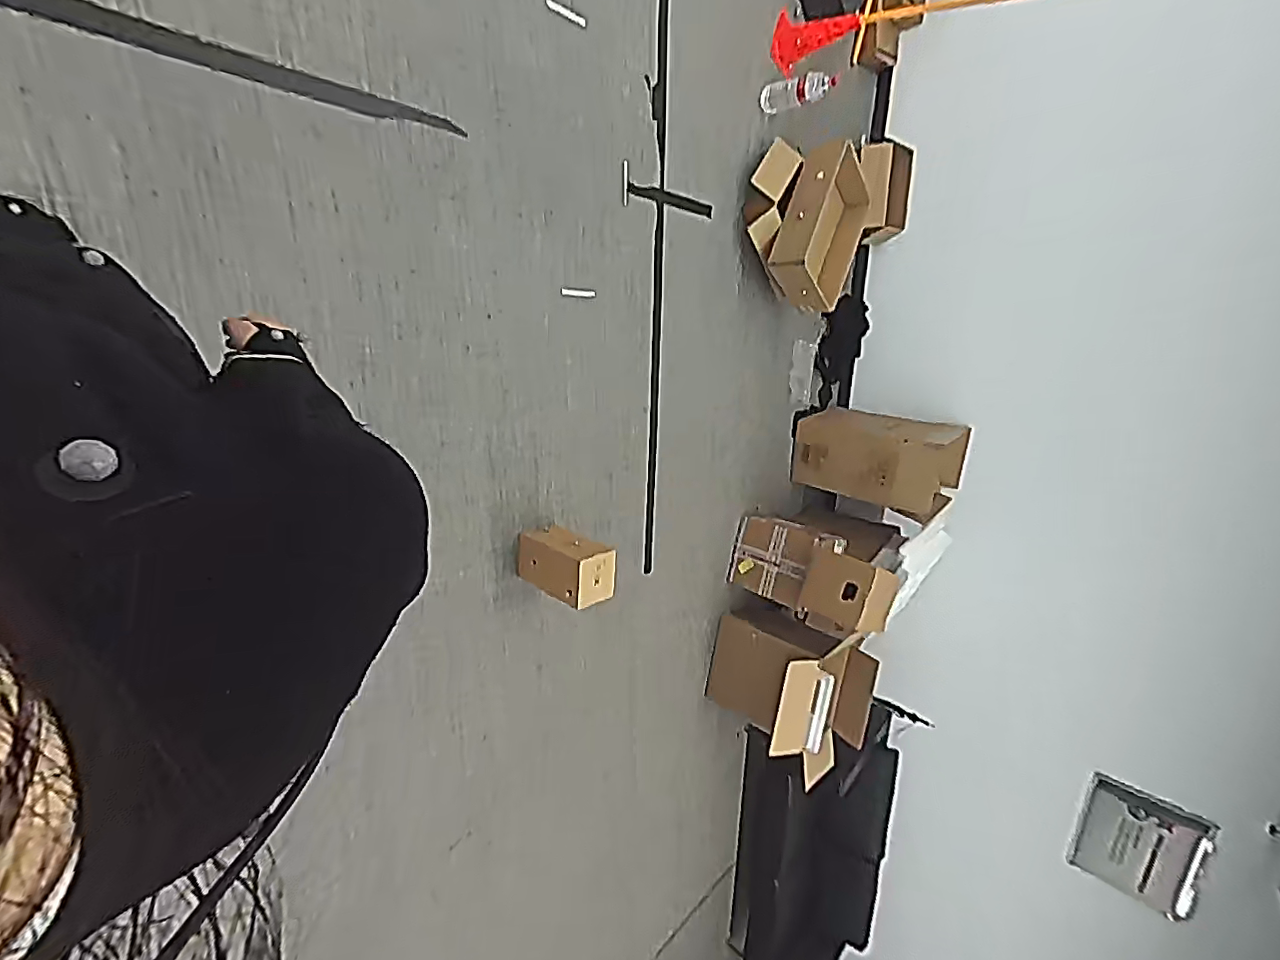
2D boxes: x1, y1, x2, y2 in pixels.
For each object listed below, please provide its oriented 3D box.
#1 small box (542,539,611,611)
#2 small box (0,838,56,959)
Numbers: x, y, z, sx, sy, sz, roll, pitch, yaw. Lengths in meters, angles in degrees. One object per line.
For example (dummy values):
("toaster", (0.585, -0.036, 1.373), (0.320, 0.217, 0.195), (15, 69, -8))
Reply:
("small box", (-0.218, 0.317, 1.836), (0.168, 0.176, 0.179), (-10, 109, -48))
("small box", (-1.281, 0.843, 1.049), (0.168, 0.176, 0.179), (-18, 116, -44))
